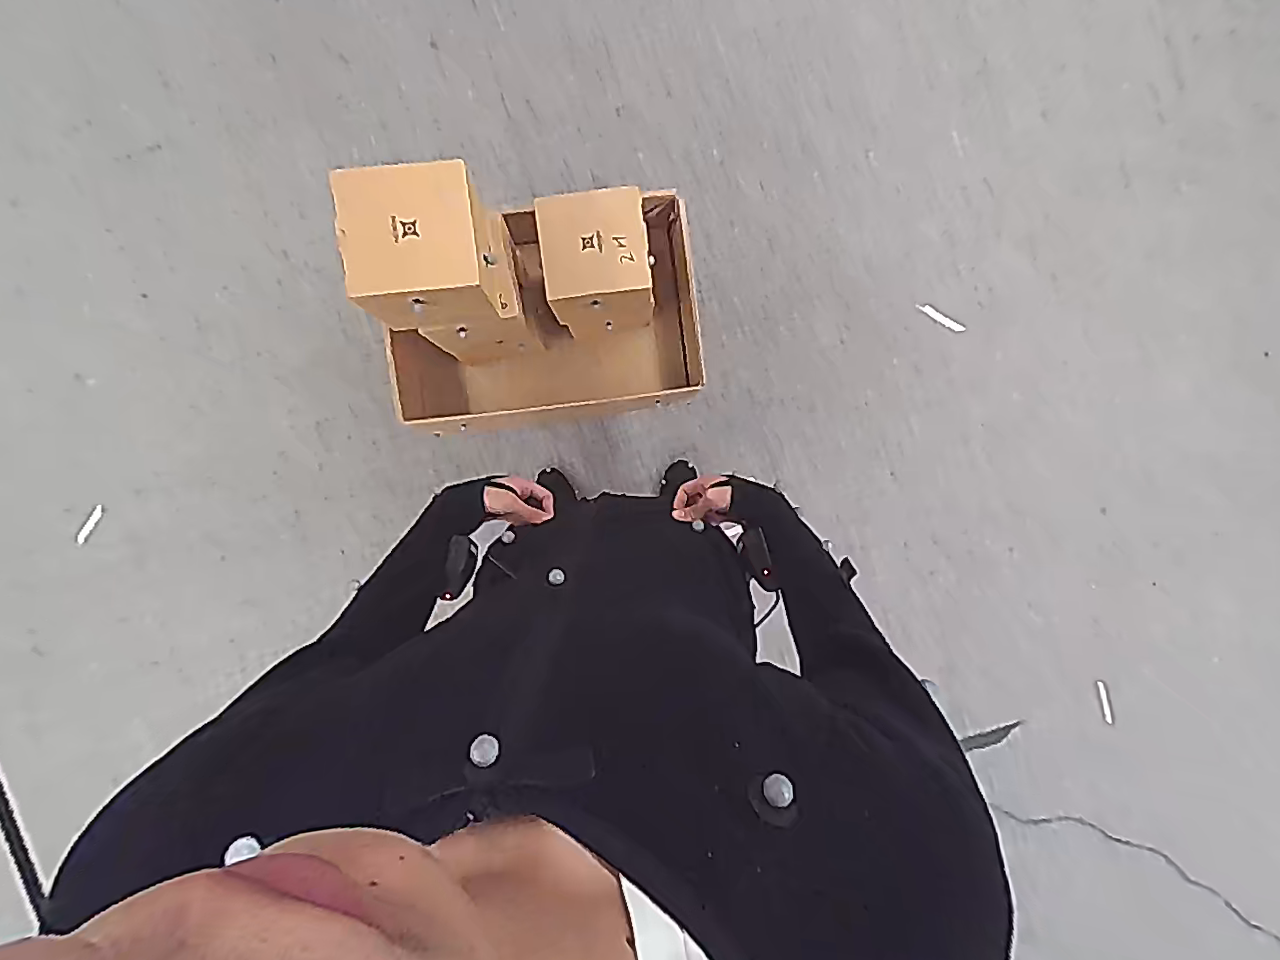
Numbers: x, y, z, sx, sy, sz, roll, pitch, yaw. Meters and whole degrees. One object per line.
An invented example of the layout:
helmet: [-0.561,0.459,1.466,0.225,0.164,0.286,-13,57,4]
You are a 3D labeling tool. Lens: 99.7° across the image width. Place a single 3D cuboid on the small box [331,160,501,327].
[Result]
small box: [-0.306,-0.329,0.779,0.179,0.176,0.168,-7,92,-3]
